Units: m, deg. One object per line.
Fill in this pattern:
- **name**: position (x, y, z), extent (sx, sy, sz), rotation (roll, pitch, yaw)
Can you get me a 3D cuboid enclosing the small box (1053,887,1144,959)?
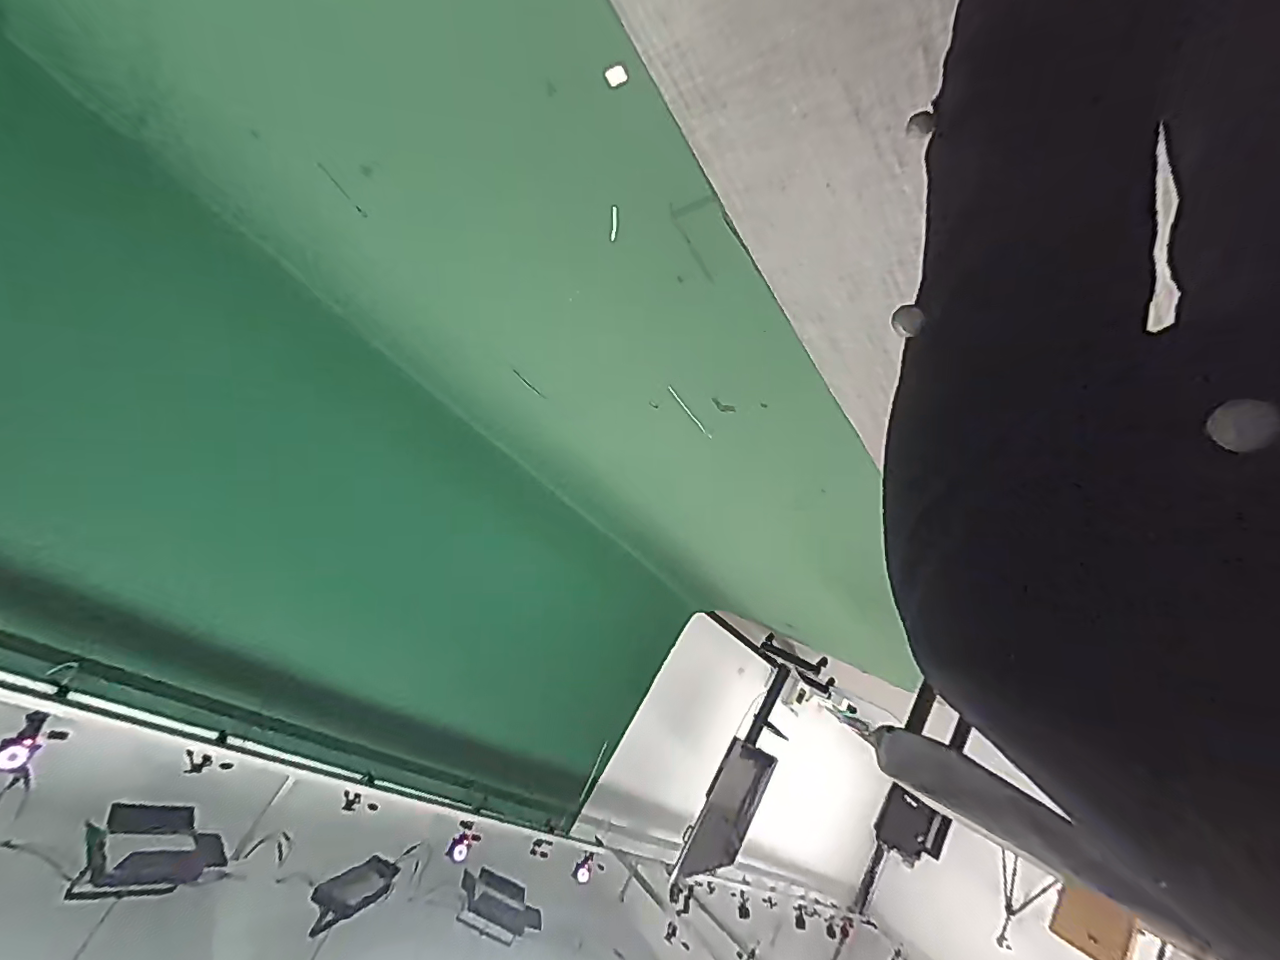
- **small box**: position (1.377, 1.371, 1.618), extent (0.179, 0.176, 0.168), rotation (13, 155, 52)
